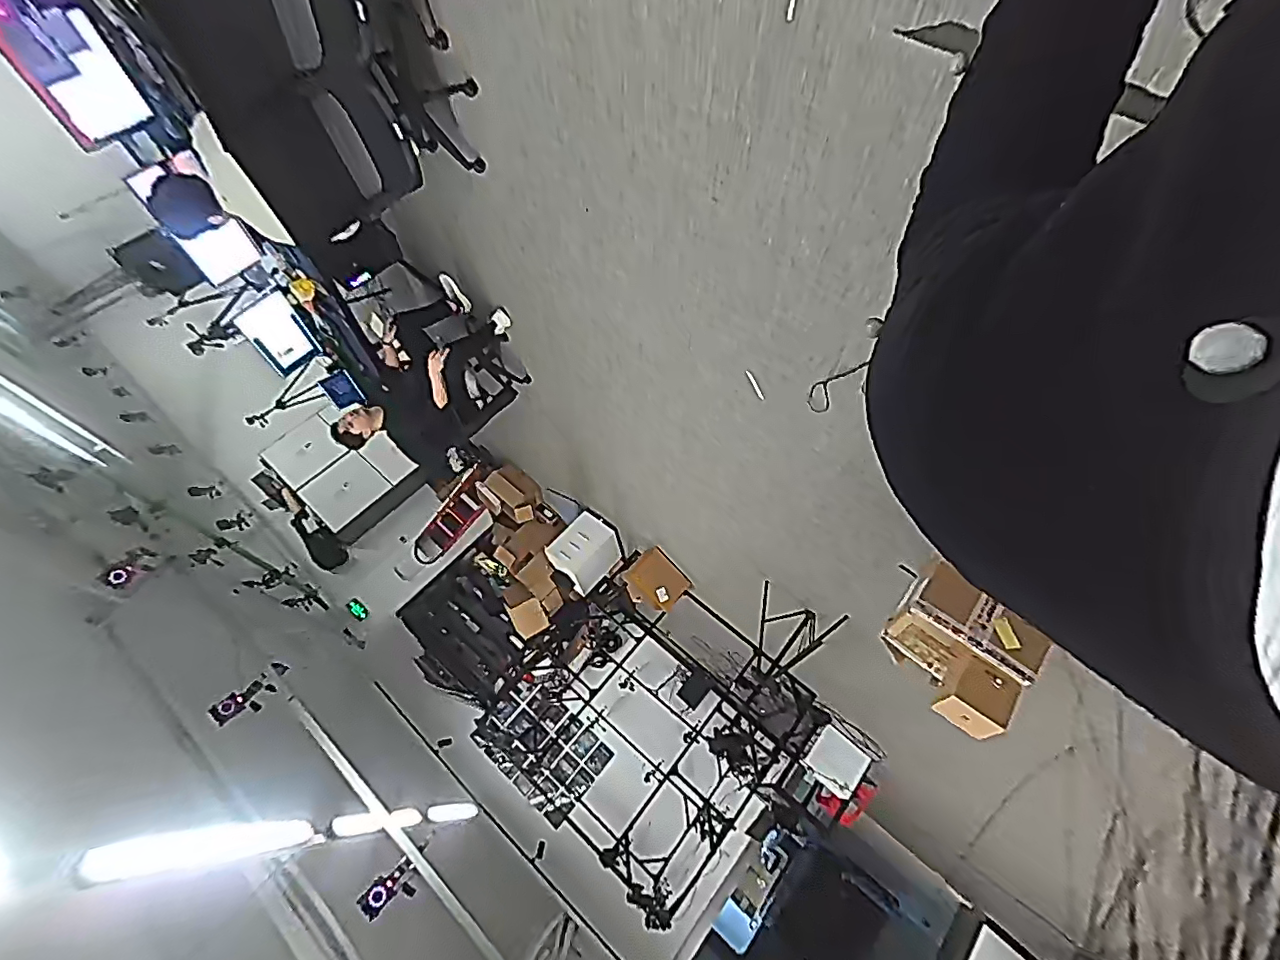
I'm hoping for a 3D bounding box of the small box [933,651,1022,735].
[{"bbox_3d":[1.101,0.694,1.763,0.168,0.176,0.179,33,151,22],"label":"small box"}]
